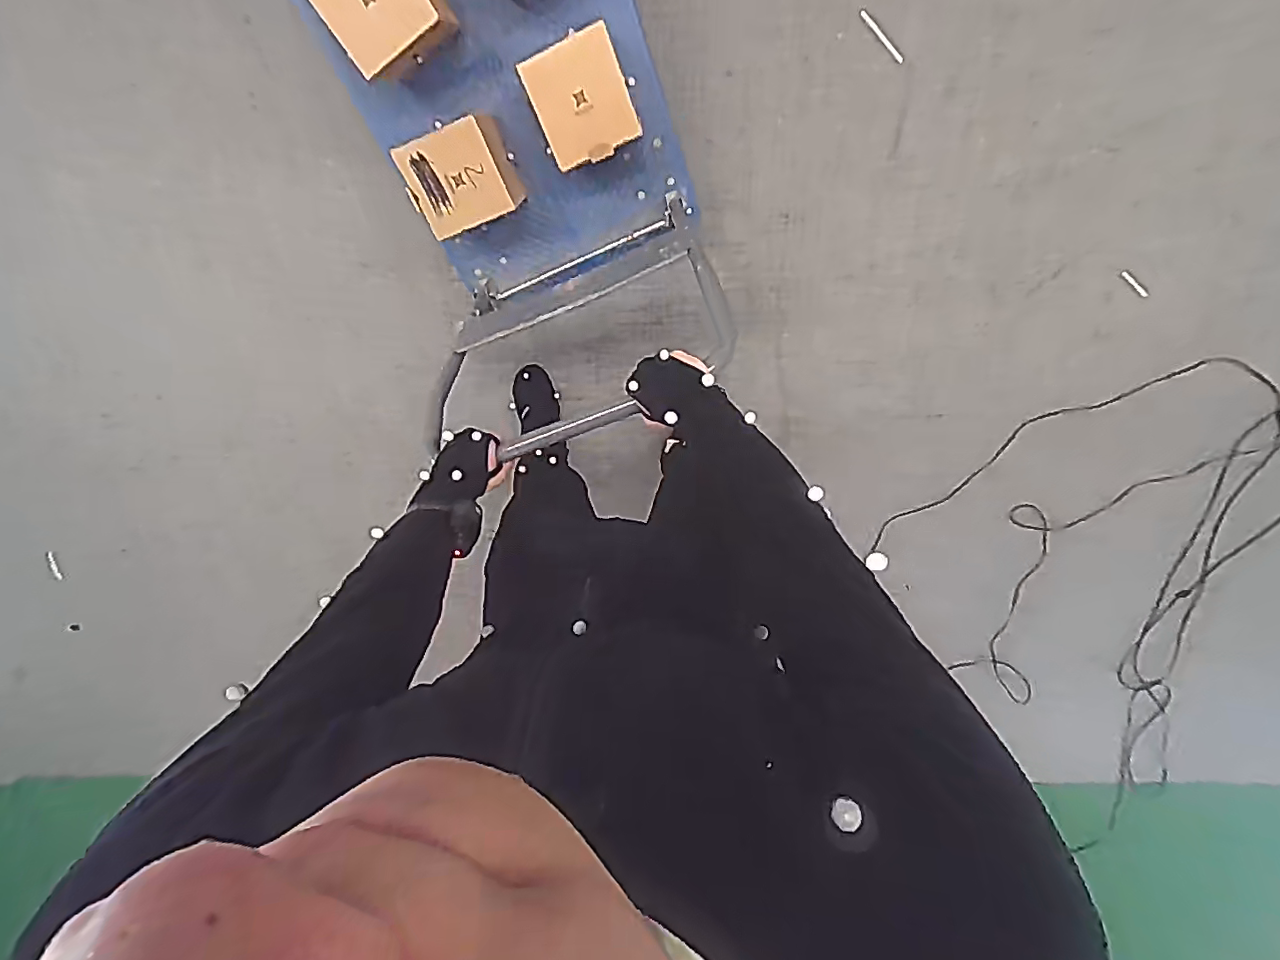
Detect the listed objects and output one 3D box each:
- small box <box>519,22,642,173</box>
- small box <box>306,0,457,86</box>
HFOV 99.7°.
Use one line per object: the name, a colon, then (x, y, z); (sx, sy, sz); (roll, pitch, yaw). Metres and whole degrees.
small box: (-0.106, -0.711, 1.015); (0.168, 0.176, 0.179); (-20, 125, 12)
small box: (-0.443, -0.816, 0.923); (0.168, 0.176, 0.179); (-27, 123, 16)
